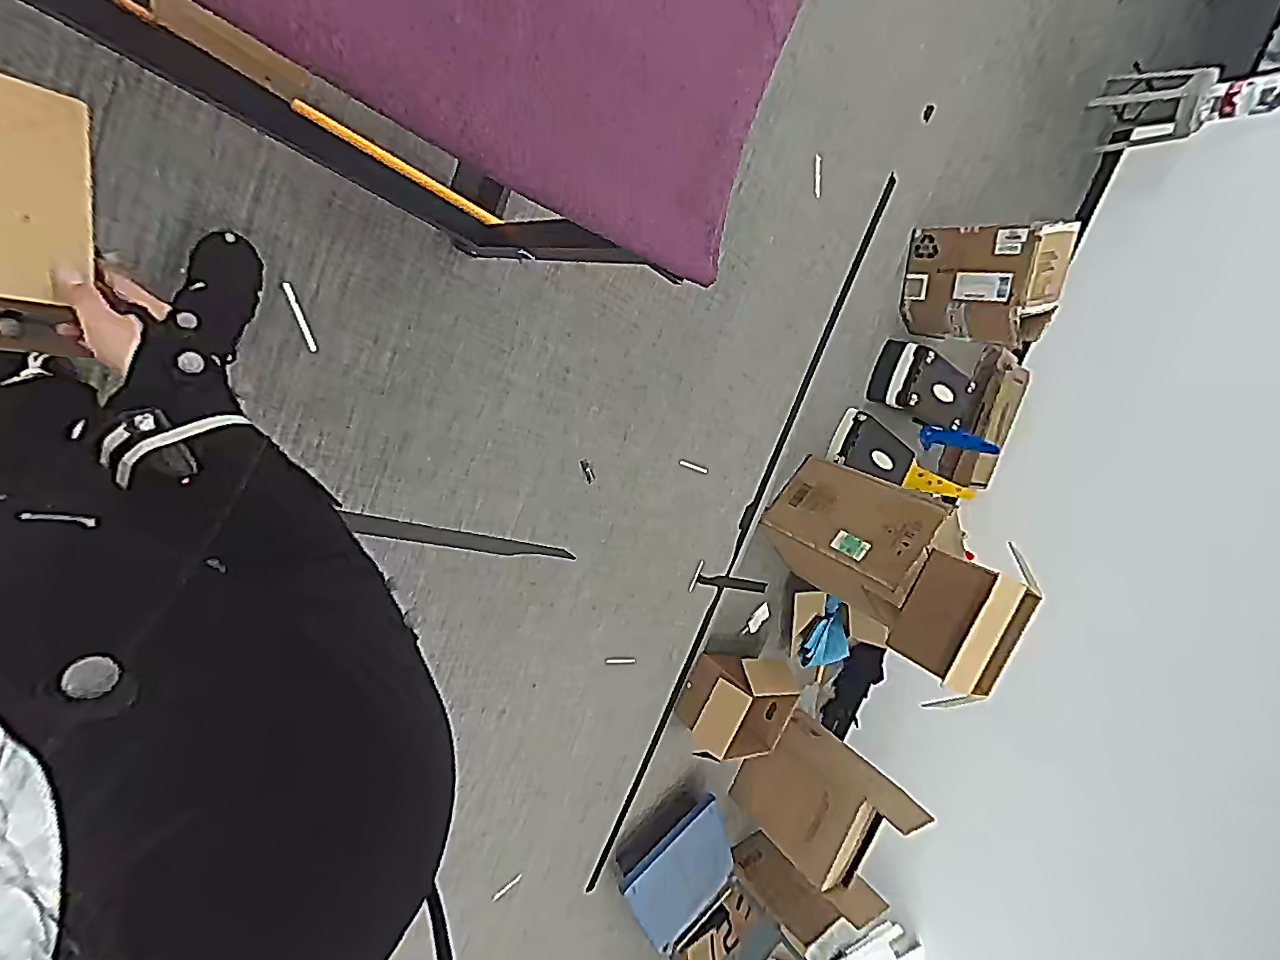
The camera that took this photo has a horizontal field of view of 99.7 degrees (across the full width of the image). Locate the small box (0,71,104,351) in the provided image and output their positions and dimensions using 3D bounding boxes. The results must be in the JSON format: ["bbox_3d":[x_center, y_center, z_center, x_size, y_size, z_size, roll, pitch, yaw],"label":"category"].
[{"bbox_3d":[-0.535,-0.204,0.410,0.179,0.176,0.168,-2,87,-45],"label":"small box"}]
